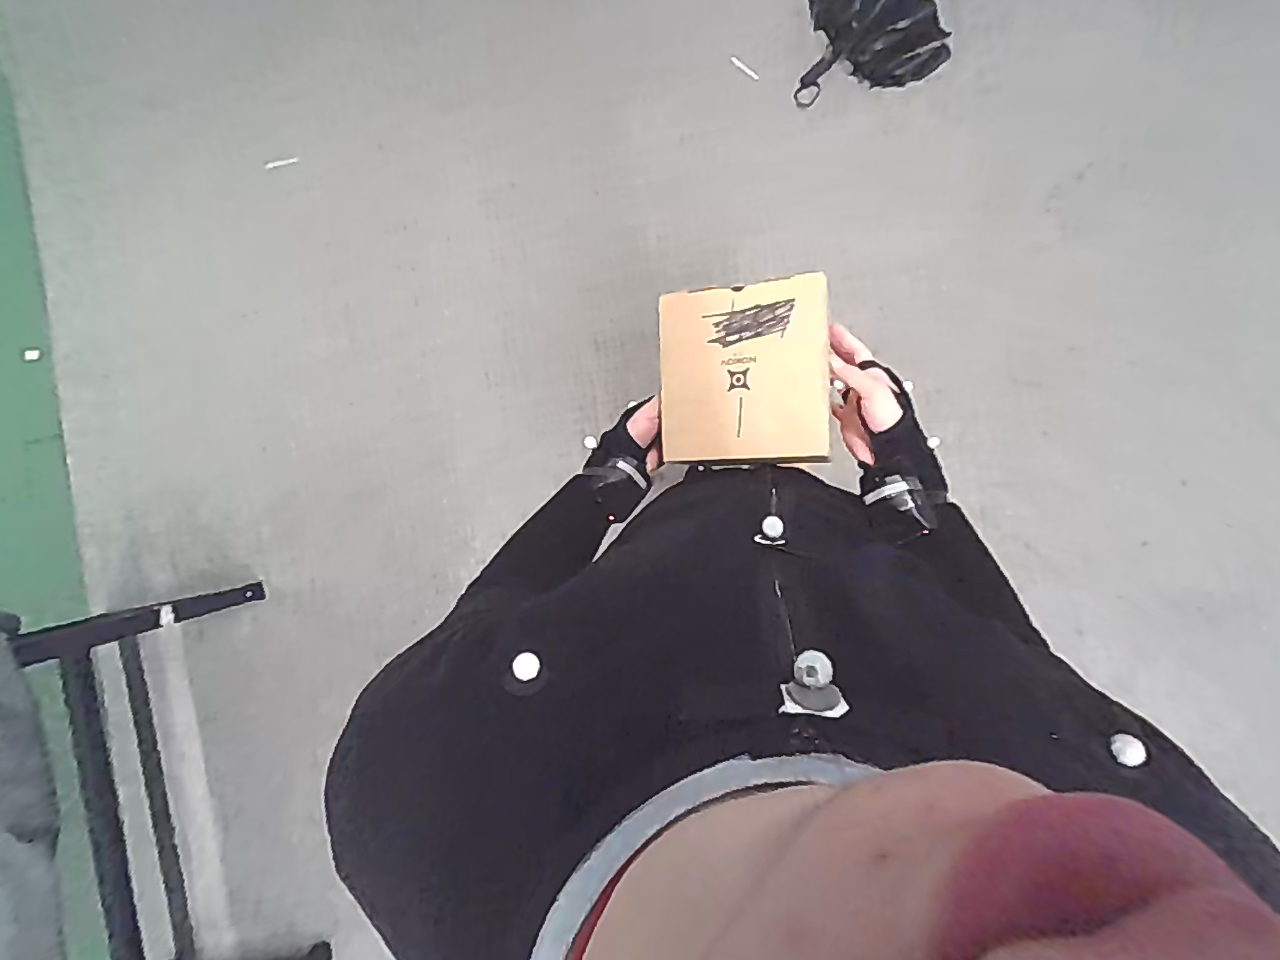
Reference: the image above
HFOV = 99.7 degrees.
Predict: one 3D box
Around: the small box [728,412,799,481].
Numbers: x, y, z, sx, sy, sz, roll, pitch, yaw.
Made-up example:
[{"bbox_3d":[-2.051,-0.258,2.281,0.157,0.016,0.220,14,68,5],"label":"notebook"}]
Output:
[{"bbox_3d":[0.329,-0.089,1.469,0.168,0.176,0.179,2,92,6],"label":"small box"}]
